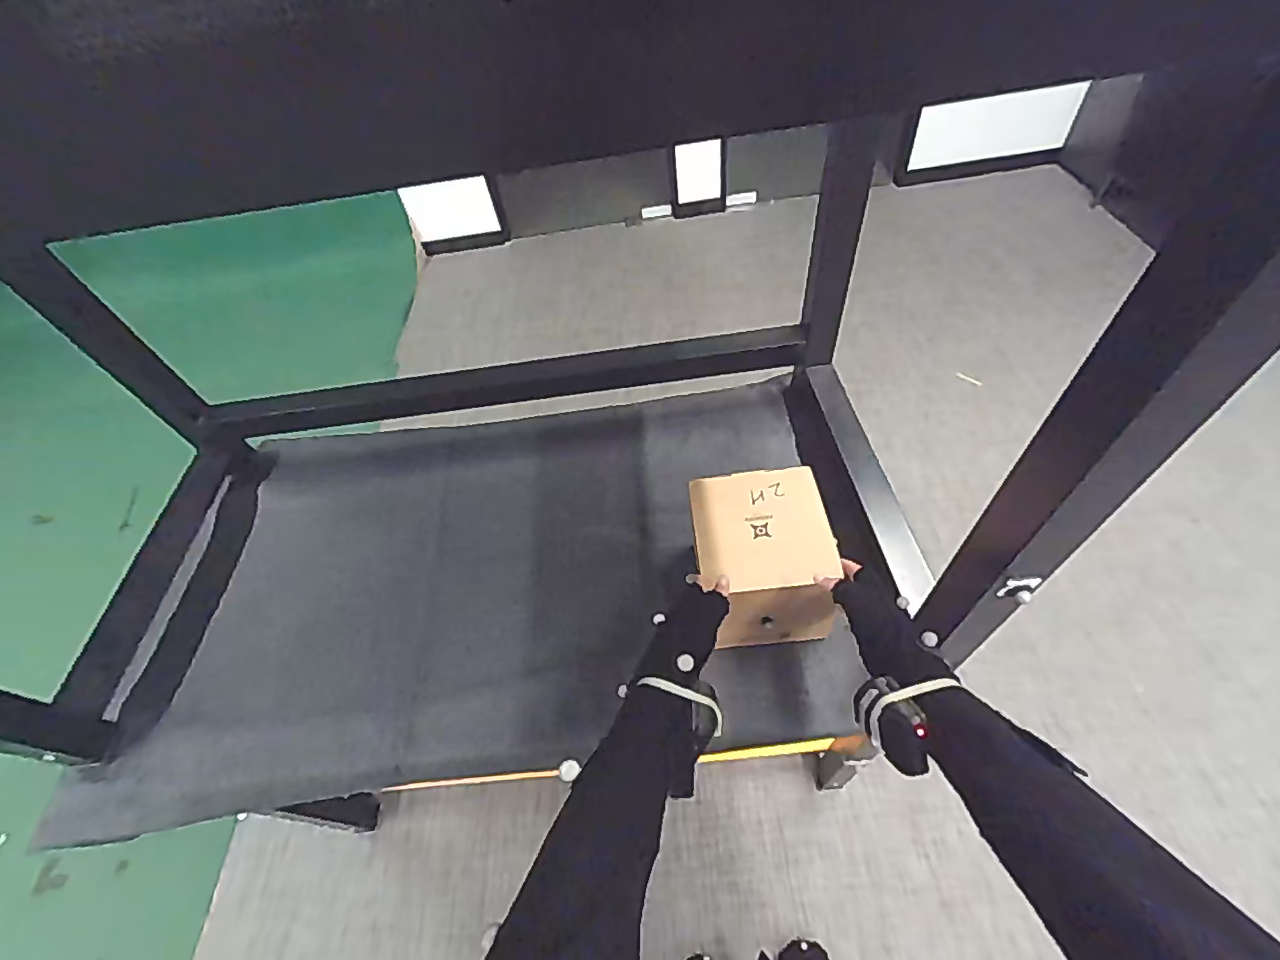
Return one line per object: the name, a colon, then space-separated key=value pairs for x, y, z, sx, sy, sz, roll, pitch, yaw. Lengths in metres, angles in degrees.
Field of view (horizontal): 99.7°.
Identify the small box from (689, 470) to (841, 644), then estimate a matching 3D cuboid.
small box: x=0.160 y=0.113 z=0.738 sx=0.168 sy=0.176 sz=0.179 roll=-6 pitch=50 yaw=4
